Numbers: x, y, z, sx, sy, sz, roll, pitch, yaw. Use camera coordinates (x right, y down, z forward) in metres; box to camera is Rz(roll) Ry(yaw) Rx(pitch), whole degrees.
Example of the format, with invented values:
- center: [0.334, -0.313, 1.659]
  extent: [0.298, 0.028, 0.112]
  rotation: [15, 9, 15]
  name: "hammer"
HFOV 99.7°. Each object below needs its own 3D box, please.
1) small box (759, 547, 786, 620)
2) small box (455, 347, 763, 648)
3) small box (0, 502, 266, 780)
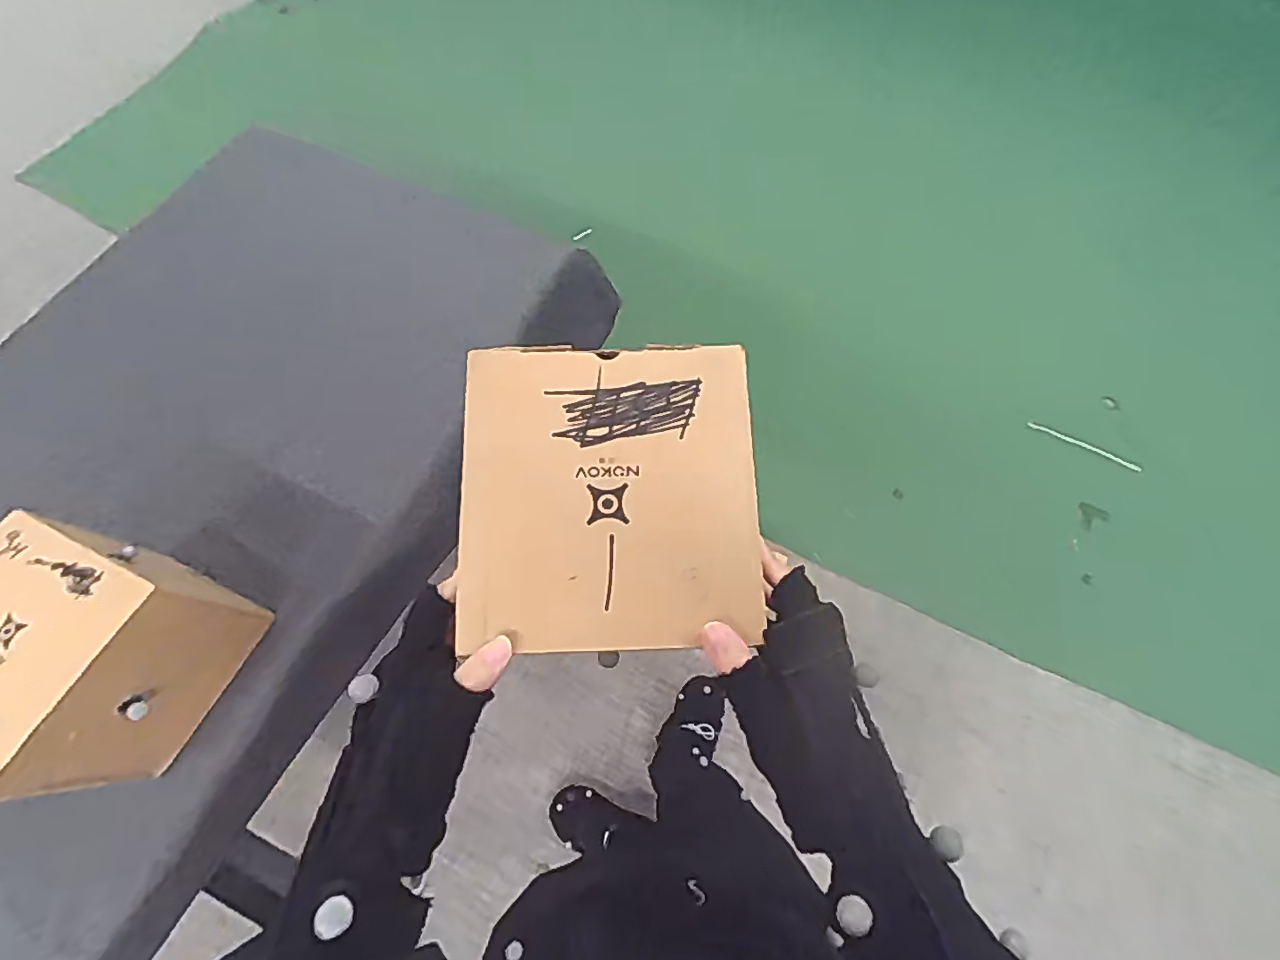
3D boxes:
- center: [0.221, 0.248, 1.281]
  extent: [0.168, 0.176, 0.179]
  rotation: [24, 71, 9]
  name: "small box"
- center: [-0.017, 0.024, 0.382]
  extent: [0.168, 0.176, 0.179]
  rotation: [0, 76, -1]
  name: "small box"
- center: [-0.512, 0.153, 0.510]
  extent: [0.168, 0.176, 0.179]
  rotation: [24, 69, 9]
  name: "small box"
